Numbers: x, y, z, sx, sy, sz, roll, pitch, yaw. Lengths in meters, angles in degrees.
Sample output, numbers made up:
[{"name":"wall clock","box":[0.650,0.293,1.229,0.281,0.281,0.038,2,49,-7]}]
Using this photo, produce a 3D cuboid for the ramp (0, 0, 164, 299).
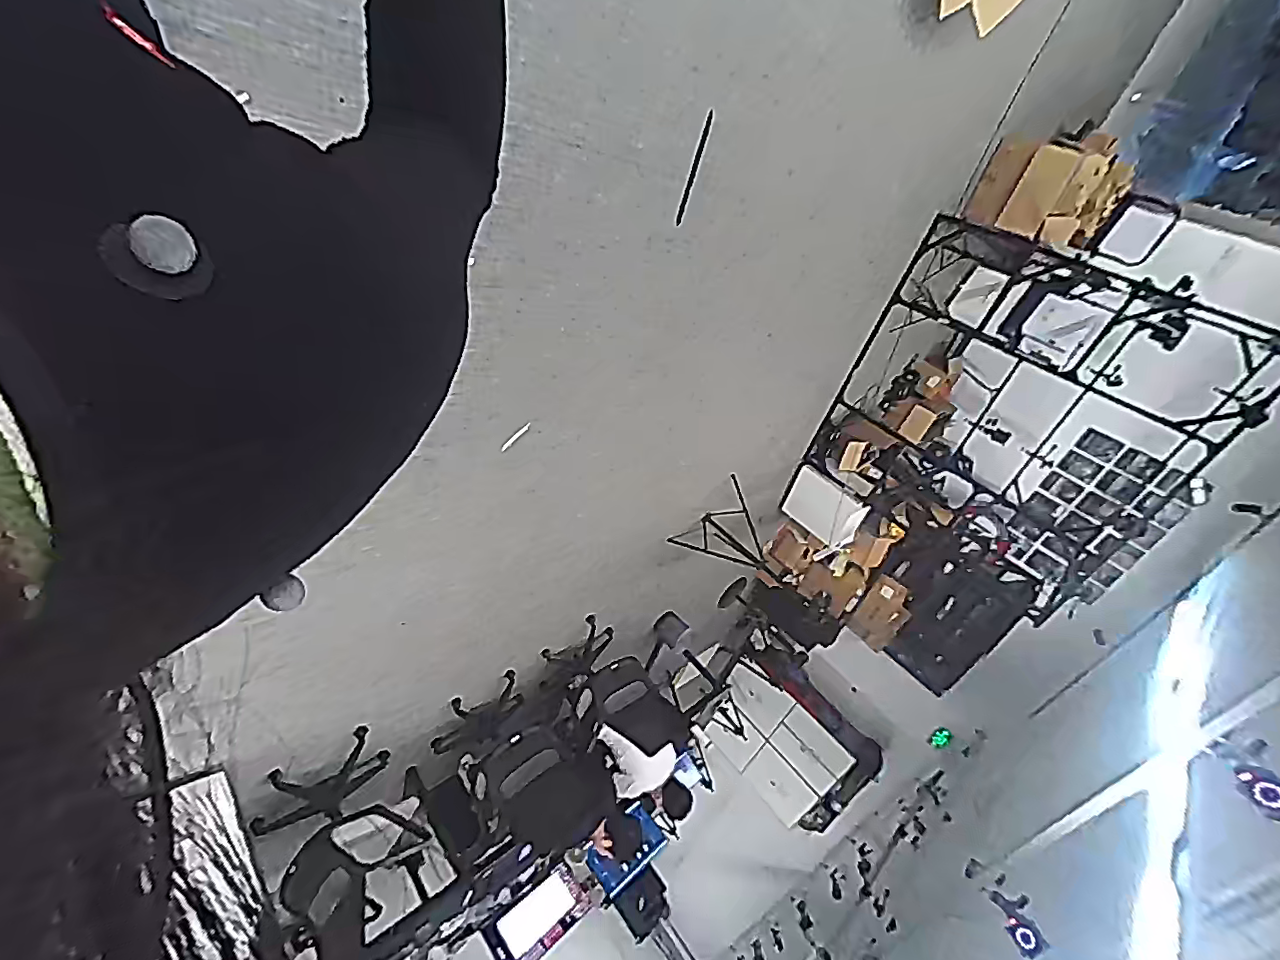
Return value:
[{"name":"ramp","box":[-1.064,-0.713,0.785,0.509,0.206,0.991,-17,138,-43]}]
